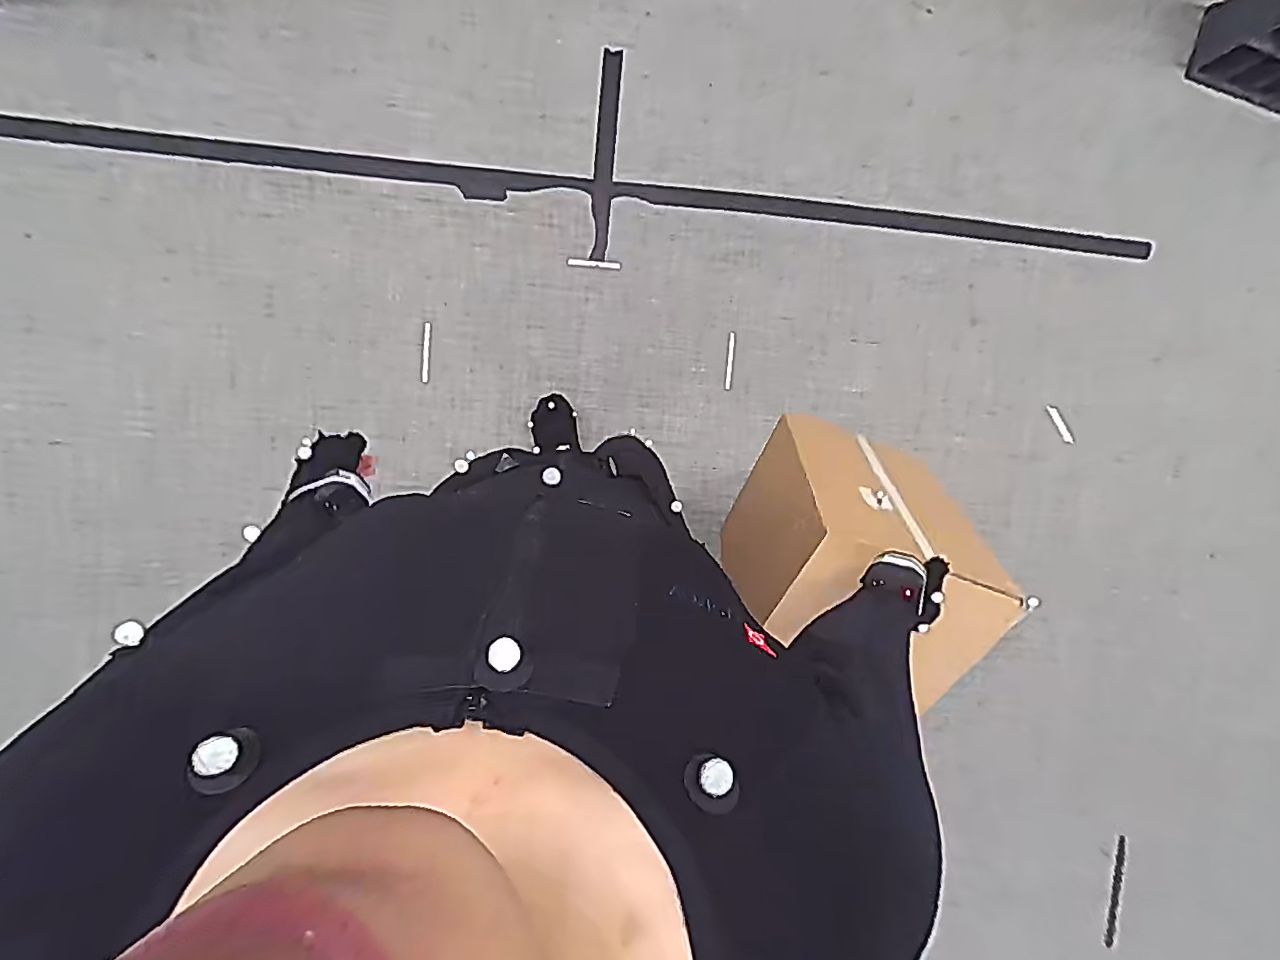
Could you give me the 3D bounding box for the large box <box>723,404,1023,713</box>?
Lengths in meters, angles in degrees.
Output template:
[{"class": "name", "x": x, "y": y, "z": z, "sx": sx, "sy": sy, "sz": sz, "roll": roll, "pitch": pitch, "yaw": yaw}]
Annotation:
[{"class": "large box", "x": 0.359, "y": 0.125, "z": 0.978, "sx": 0.320, "sy": 0.408, "sz": 0.320, "roll": 19, "pitch": 124, "yaw": -6}]
